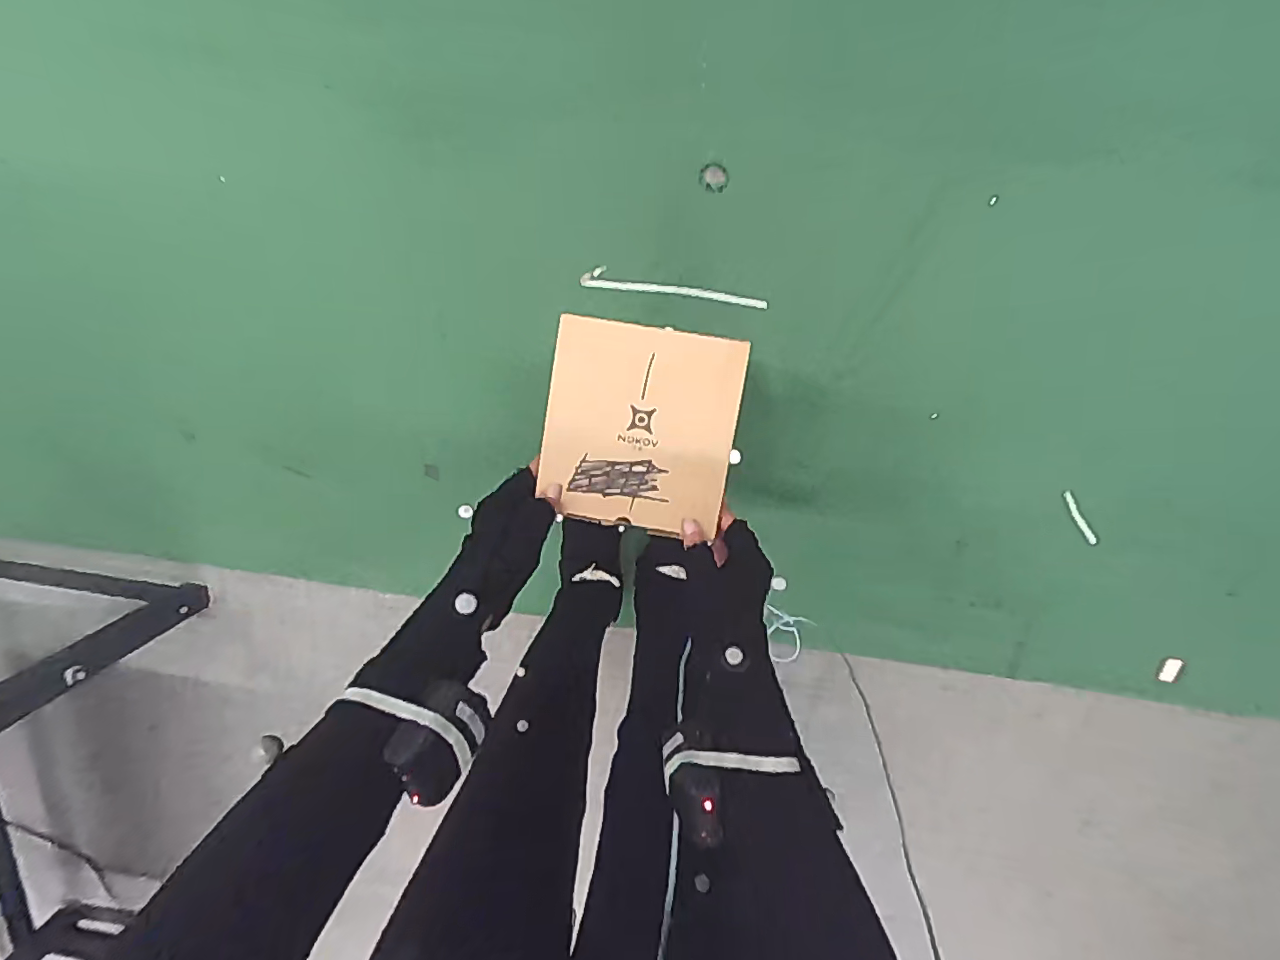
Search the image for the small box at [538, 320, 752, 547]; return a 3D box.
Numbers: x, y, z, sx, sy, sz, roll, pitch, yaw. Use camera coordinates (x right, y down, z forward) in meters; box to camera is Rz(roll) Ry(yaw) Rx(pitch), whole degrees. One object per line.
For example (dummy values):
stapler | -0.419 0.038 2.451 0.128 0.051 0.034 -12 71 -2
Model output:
small box | 0.009 -0.046 0.548 0.168 0.176 0.179 10 95 4
